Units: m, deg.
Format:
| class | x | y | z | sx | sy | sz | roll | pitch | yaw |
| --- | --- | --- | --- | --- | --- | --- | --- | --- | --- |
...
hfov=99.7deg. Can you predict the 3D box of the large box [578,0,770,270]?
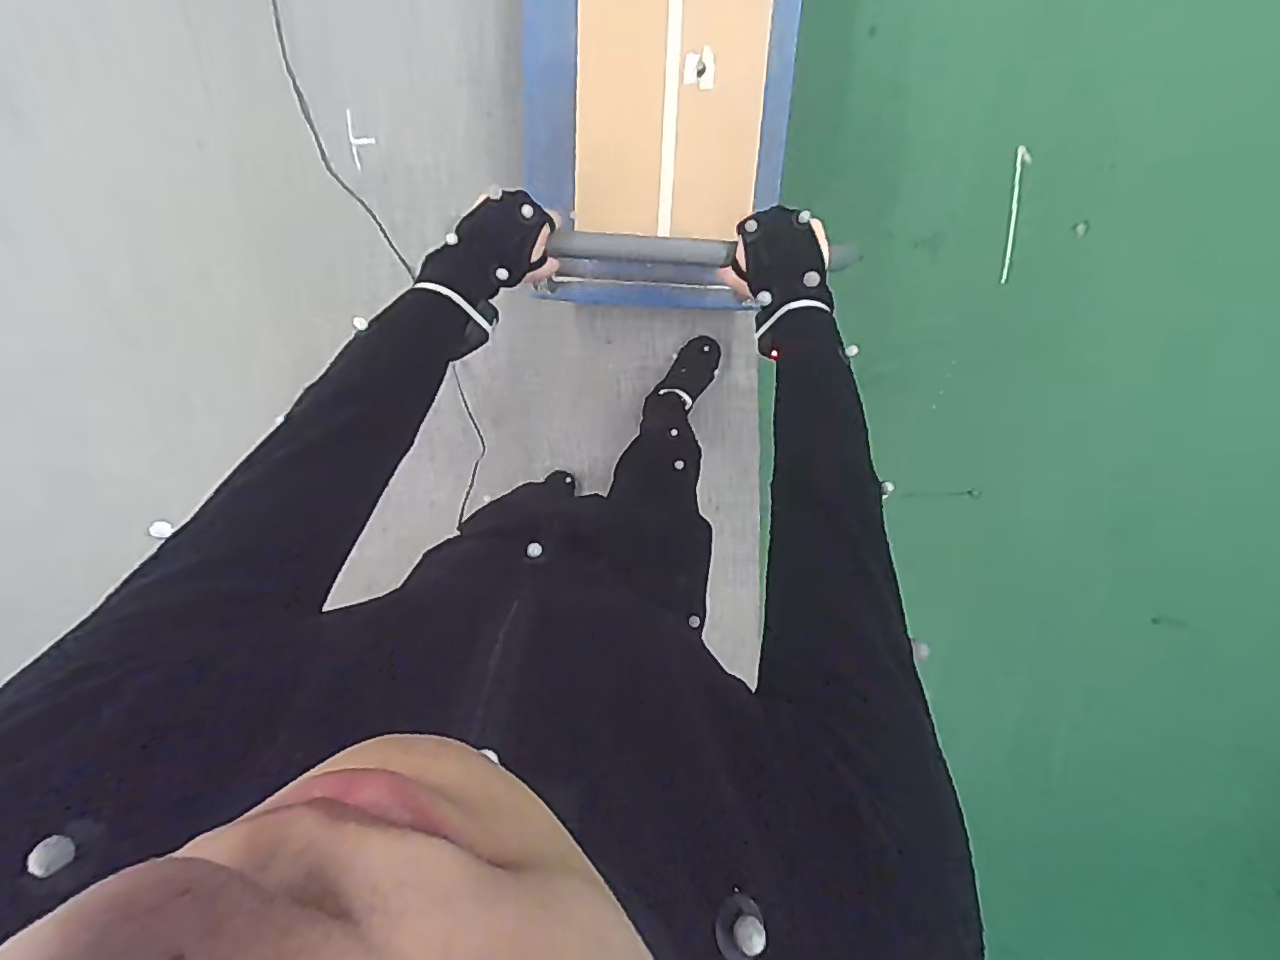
| class | x | y | z | sx | sy | sz | roll | pitch | yaw |
| --- | --- | --- | --- | --- | --- | --- | --- | --- | --- |
| large box | 0.054 | -0.643 | 1.060 | 0.320 | 0.320 | 0.408 | 3 | 105 | -1 |
